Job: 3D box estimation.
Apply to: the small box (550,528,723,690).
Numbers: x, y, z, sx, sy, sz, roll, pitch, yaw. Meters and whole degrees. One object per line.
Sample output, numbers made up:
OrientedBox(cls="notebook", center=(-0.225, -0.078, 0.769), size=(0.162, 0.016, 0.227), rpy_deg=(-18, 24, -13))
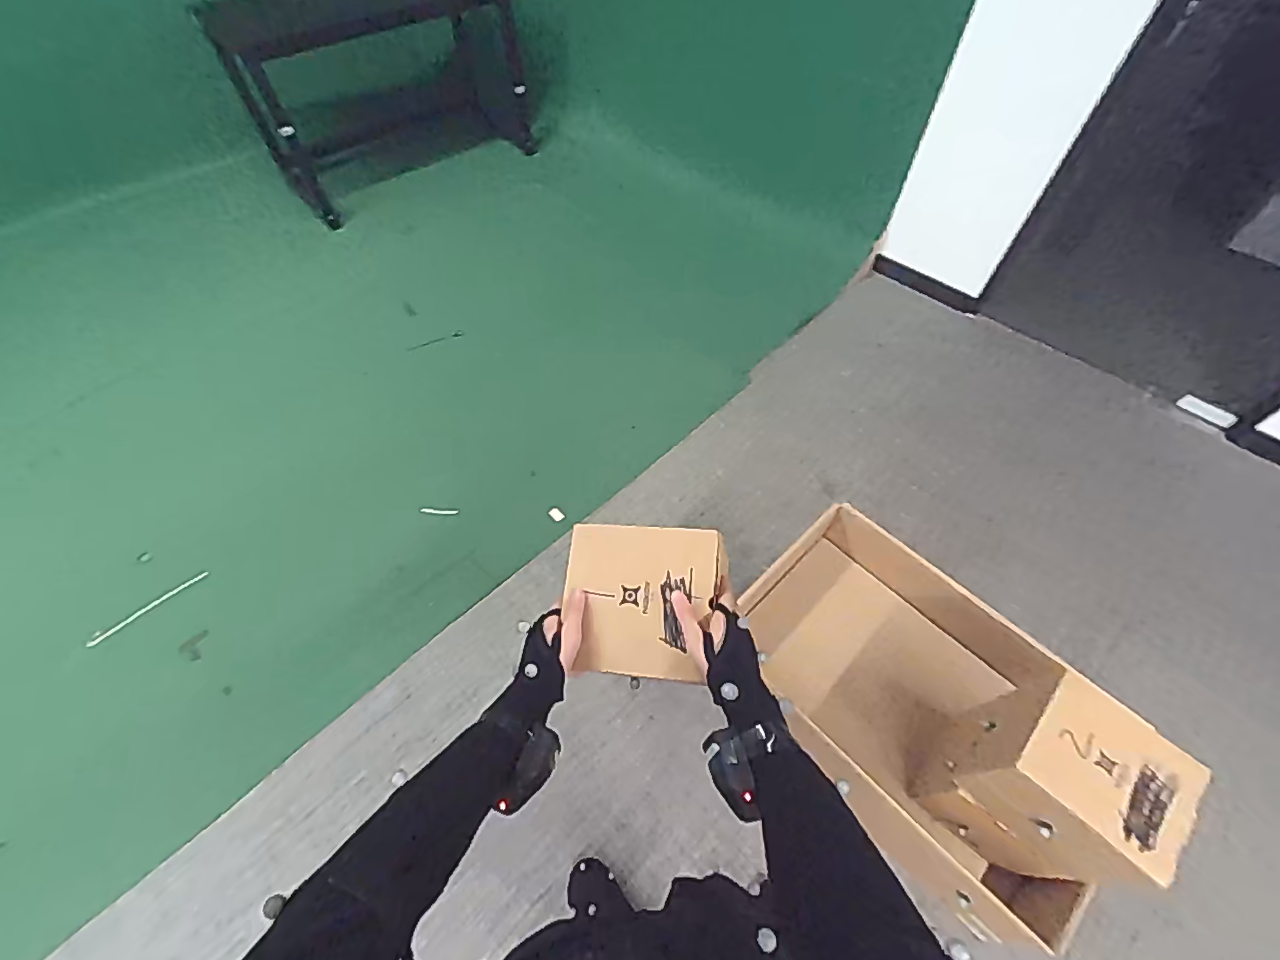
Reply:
OrientedBox(cls="small box", center=(0.009, 0.163, 0.672), size=(0.179, 0.176, 0.168), rpy_deg=(1, 70, 14))
